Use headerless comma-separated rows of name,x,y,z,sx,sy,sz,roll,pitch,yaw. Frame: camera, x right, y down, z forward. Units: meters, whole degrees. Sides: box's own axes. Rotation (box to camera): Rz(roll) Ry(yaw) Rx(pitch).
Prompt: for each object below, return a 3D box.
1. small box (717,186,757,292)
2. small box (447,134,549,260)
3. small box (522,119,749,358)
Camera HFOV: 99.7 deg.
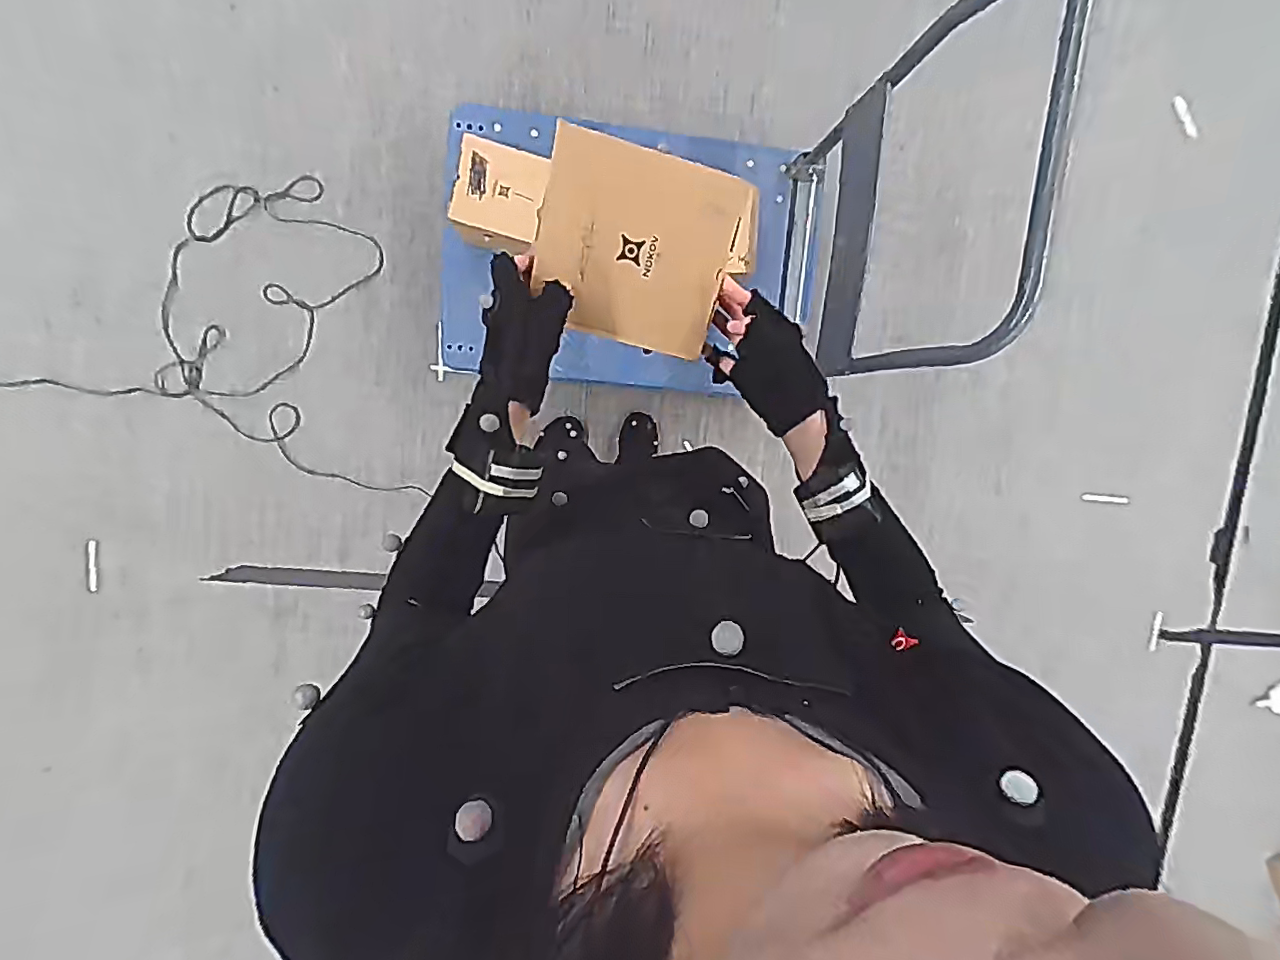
small box,0.153,-0.530,1.197,0.168,0.176,0.179,0,97,-5
small box,-0.286,-0.585,1.144,0.179,0.176,0.168,14,97,-9
small box,-0.013,-0.241,0.563,0.179,0.176,0.168,12,111,-9
